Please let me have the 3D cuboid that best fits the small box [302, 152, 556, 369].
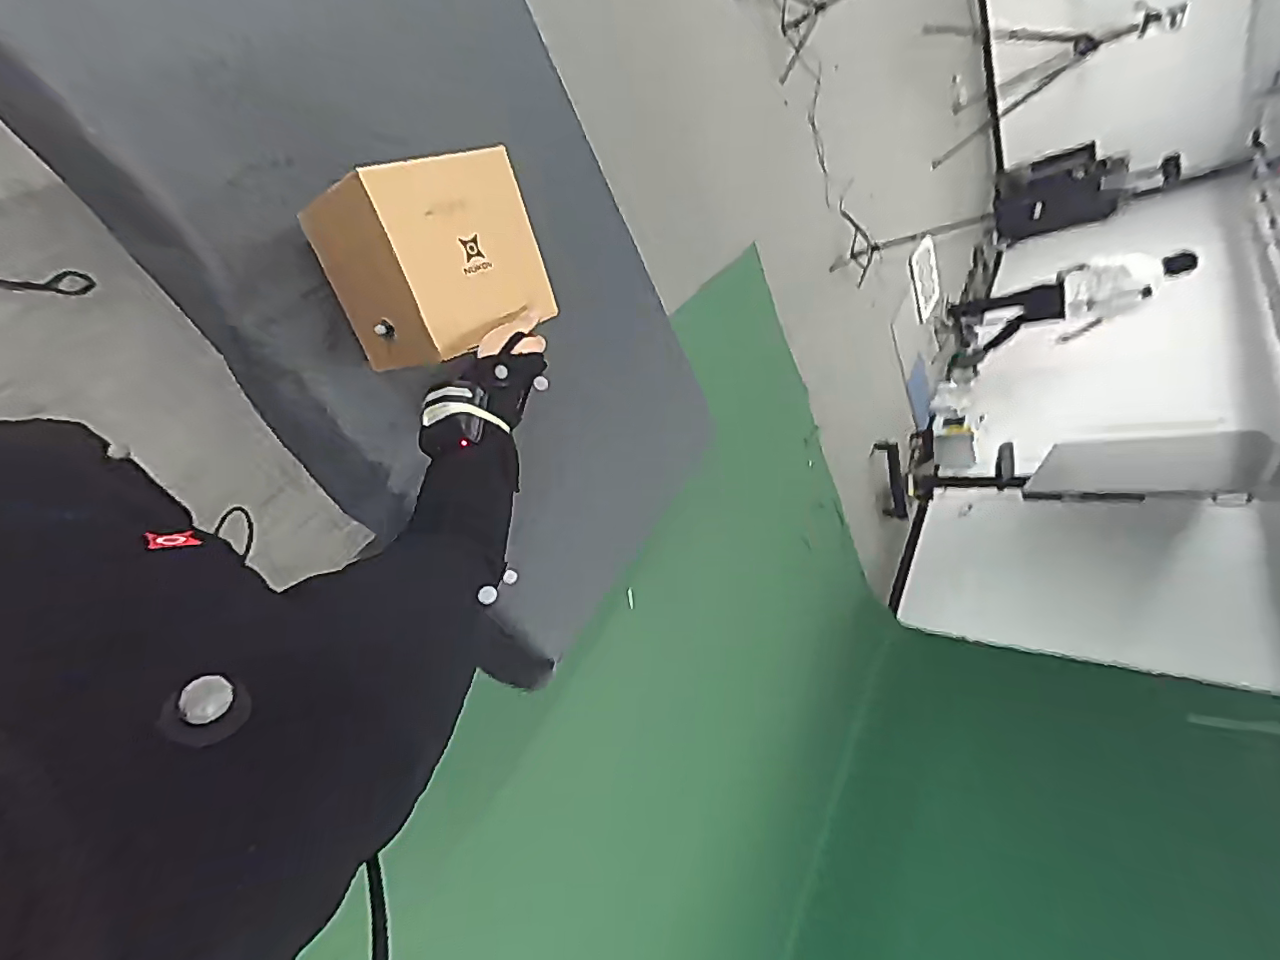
[{"bbox_3d":[-0.228,-0.232,0.595,0.168,0.176,0.179,-39,123,-38],"label":"small box"}]
